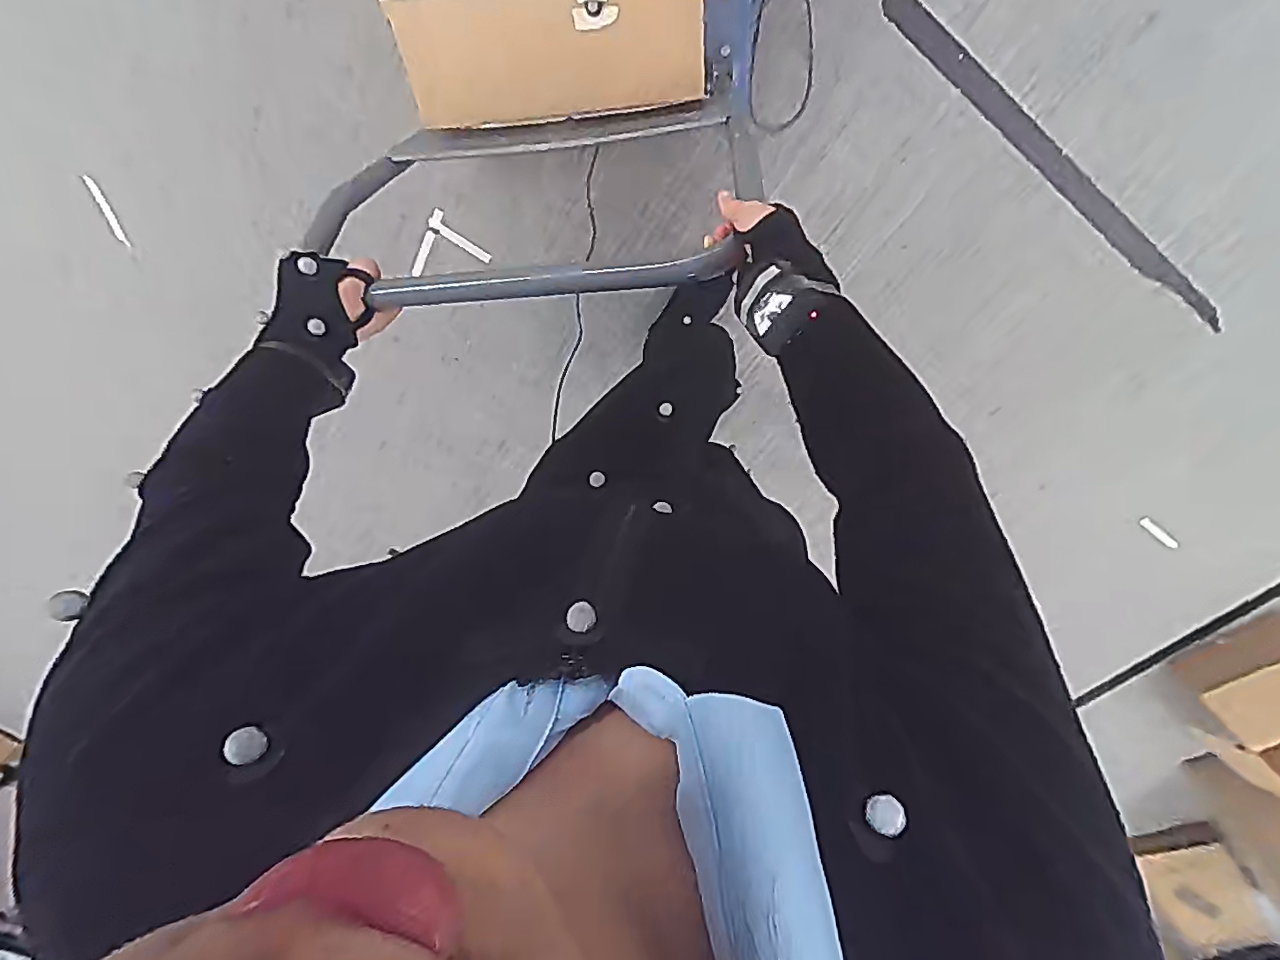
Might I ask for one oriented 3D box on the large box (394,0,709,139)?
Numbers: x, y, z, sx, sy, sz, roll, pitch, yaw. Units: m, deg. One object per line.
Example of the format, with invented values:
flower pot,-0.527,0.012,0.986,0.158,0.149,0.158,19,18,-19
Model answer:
large box,-0.113,-0.722,0.781,0.408,0.320,0.320,-3,131,7
